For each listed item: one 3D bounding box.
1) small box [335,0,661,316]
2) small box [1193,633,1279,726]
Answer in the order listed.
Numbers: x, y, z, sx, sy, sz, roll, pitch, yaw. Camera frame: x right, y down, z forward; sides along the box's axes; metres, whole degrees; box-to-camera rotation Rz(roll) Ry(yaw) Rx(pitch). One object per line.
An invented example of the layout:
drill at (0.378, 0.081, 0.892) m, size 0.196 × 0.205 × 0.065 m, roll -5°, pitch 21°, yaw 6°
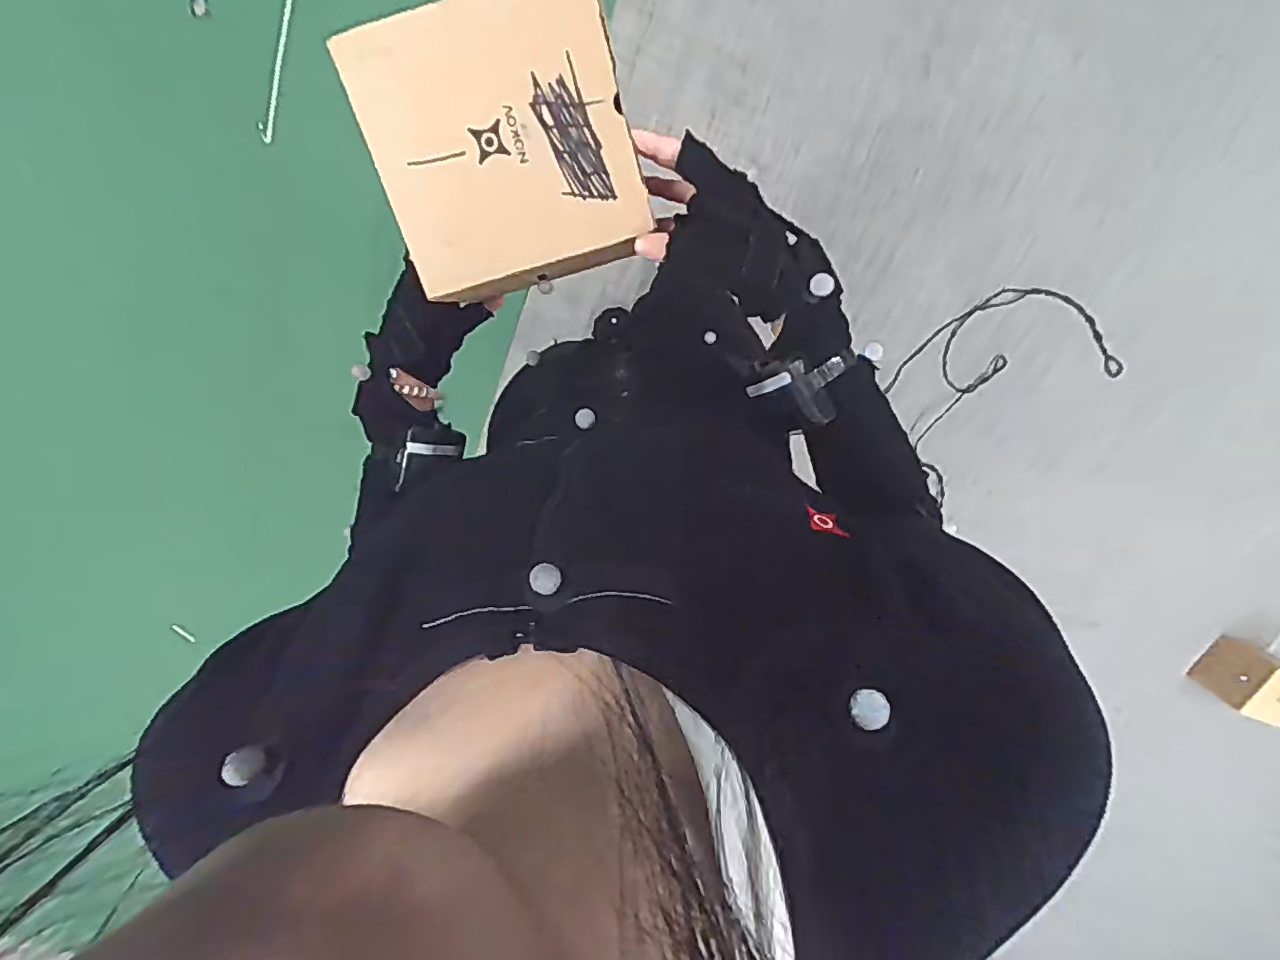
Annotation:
small box at (-0.095, -0.241, 0.438) m, size 0.179 × 0.176 × 0.168 m, roll -17°, pitch 108°, yaw 1°
small box at (1.871, 0.606, 1.651) m, size 0.168 × 0.176 × 0.179 m, roll 19°, pitch 108°, yaw -6°
